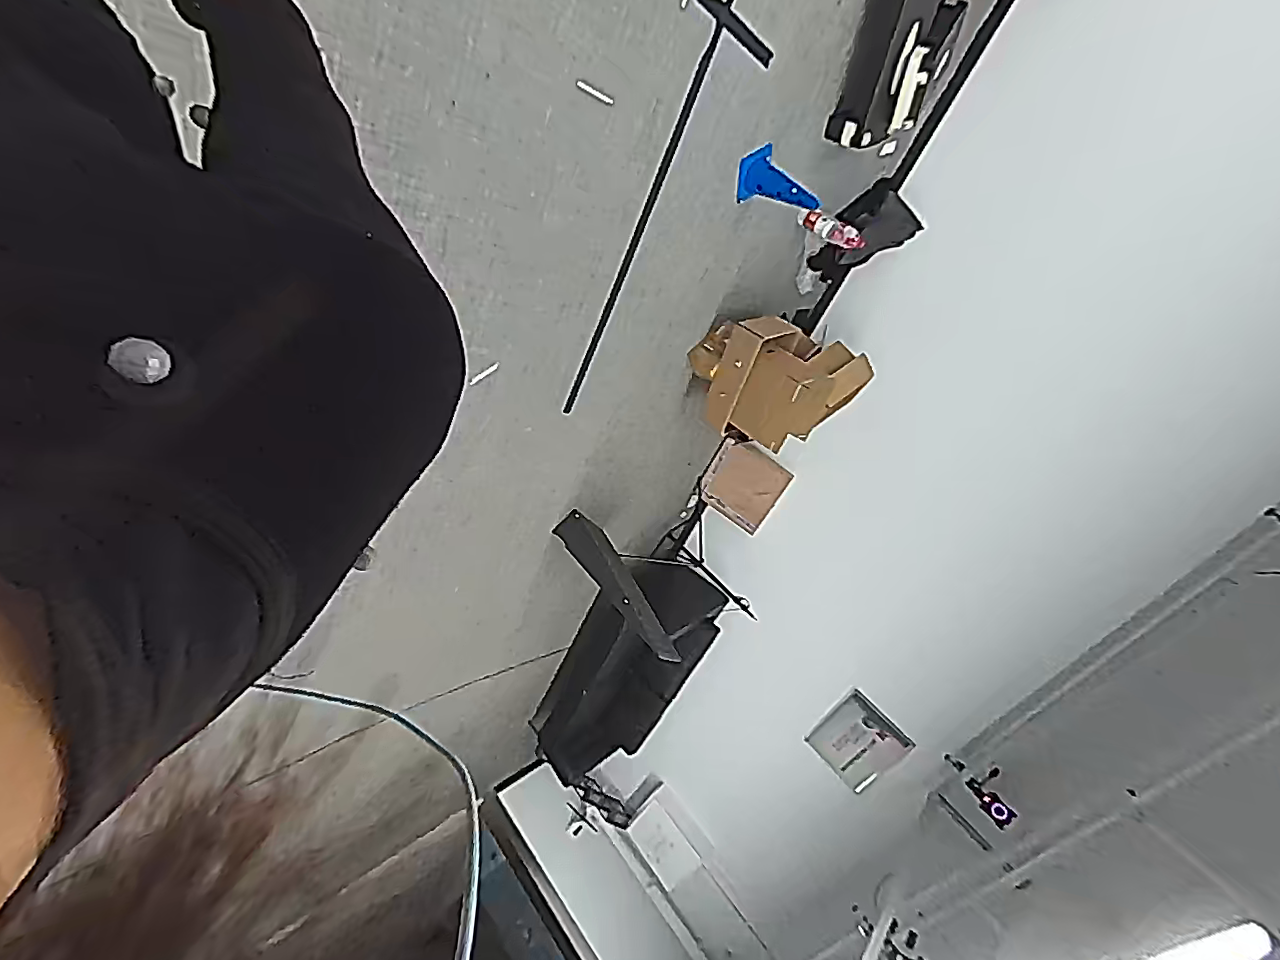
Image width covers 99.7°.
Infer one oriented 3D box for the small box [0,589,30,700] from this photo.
[{"bbox_3d":[-1.077,0.248,0.811,0.179,0.176,0.168,-16,140,-45],"label":"small box"}]
